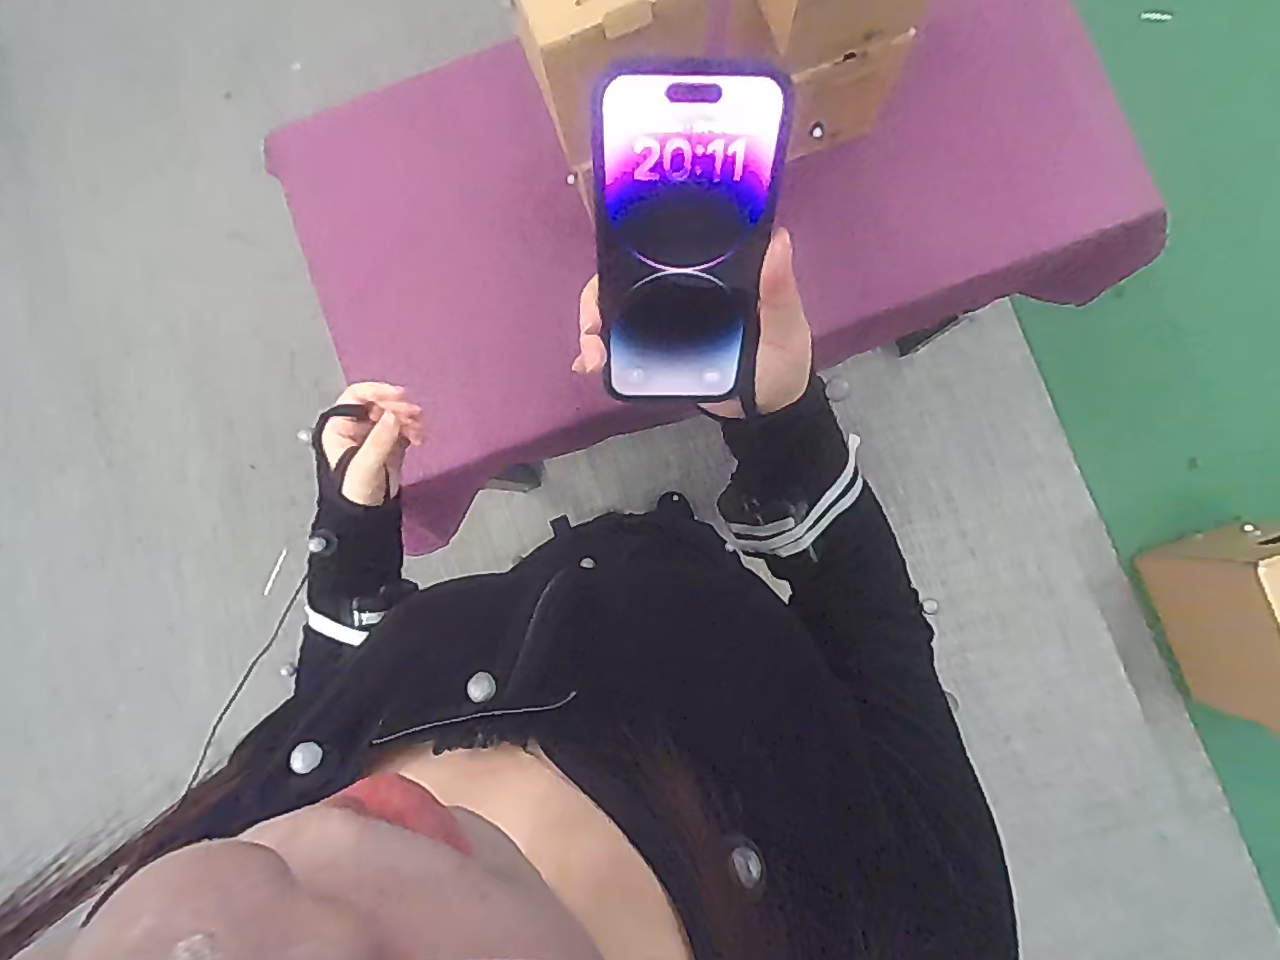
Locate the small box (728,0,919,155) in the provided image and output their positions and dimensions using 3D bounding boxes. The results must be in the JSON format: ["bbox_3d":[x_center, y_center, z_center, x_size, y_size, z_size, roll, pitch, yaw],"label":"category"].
[{"bbox_3d":[0.227,-0.586,0.720,0.168,0.176,0.179,-21,87,2],"label":"small box"}]

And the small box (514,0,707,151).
[{"bbox_3d":[-0.041,-0.498,0.567,0.168,0.176,0.179,-21,87,2],"label":"small box"}]

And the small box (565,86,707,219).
[{"bbox_3d":[-0.018,-0.485,0.730,0.168,0.176,0.179,-21,86,2],"label":"small box"}]
